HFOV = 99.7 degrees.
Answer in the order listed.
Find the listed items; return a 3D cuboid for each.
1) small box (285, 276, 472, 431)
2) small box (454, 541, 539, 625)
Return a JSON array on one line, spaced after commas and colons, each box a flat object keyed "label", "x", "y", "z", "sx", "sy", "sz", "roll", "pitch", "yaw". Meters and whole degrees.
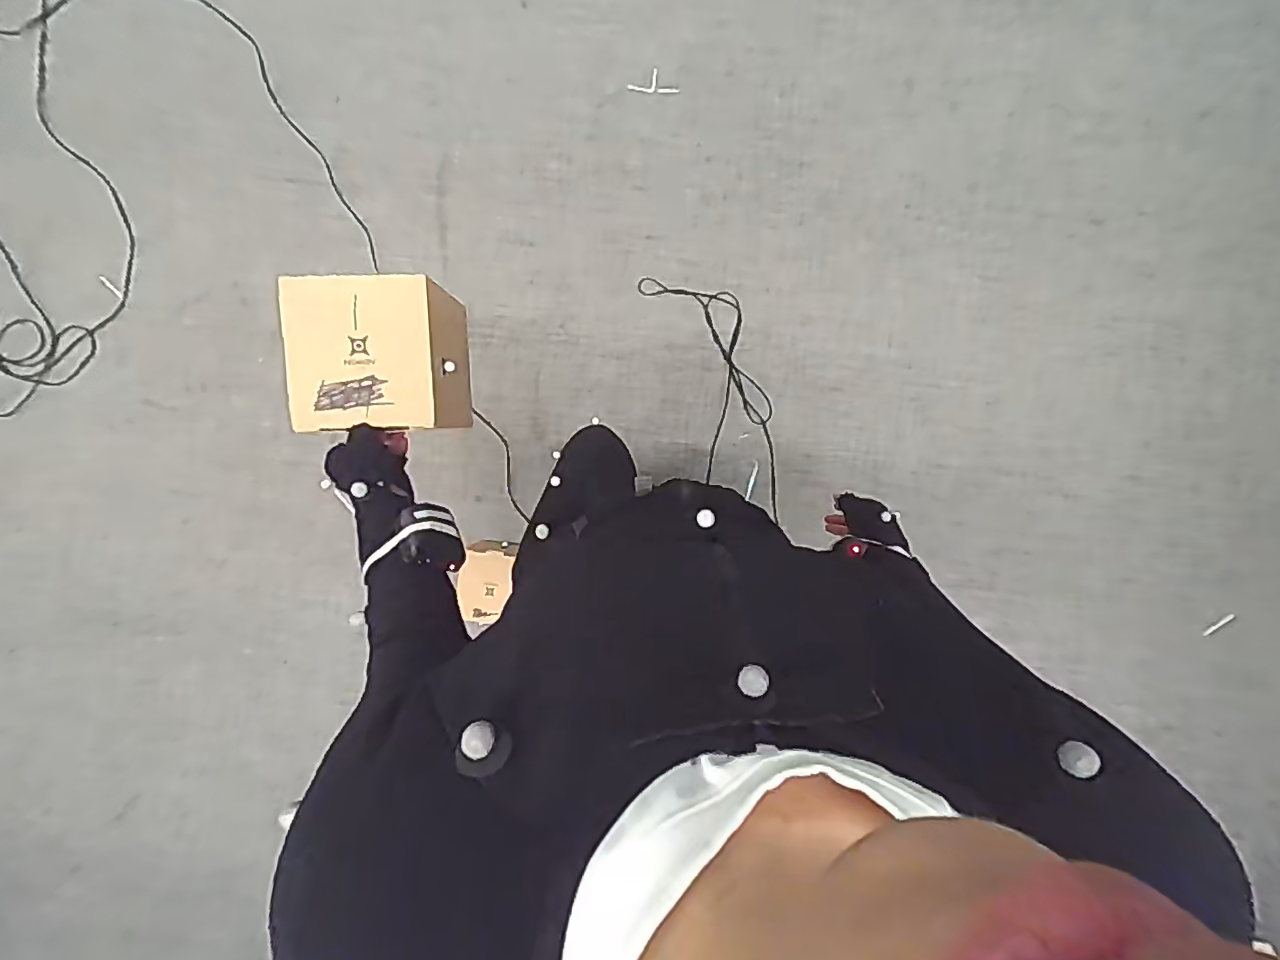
[{"label": "small box", "x": -0.323, "y": -0.154, "z": 0.704, "sx": 0.168, "sy": 0.176, "sz": 0.179, "roll": -1, "pitch": 95, "yaw": -2}, {"label": "small box", "x": -0.365, "y": 0.260, "z": 1.407, "sx": 0.168, "sy": 0.176, "sz": 0.179, "roll": 8, "pitch": 91, "yaw": 0}]
